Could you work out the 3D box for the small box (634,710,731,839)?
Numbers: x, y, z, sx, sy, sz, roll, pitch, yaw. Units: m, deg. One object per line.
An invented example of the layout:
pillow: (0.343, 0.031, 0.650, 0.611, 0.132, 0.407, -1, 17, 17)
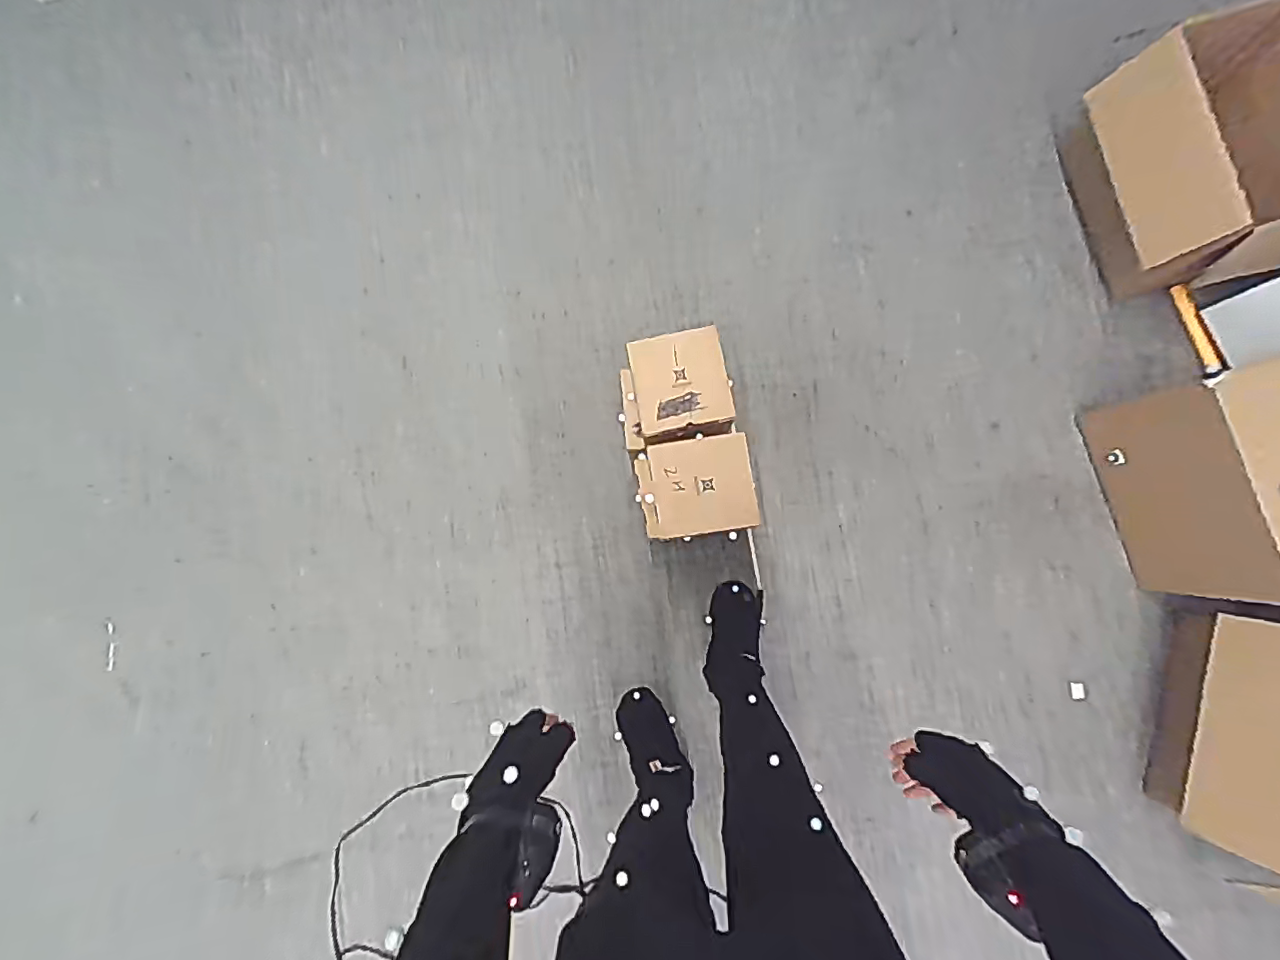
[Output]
small box: (0.082, 0.607, 1.135, 0.168, 0.176, 0.179, -2, 86, -11)
